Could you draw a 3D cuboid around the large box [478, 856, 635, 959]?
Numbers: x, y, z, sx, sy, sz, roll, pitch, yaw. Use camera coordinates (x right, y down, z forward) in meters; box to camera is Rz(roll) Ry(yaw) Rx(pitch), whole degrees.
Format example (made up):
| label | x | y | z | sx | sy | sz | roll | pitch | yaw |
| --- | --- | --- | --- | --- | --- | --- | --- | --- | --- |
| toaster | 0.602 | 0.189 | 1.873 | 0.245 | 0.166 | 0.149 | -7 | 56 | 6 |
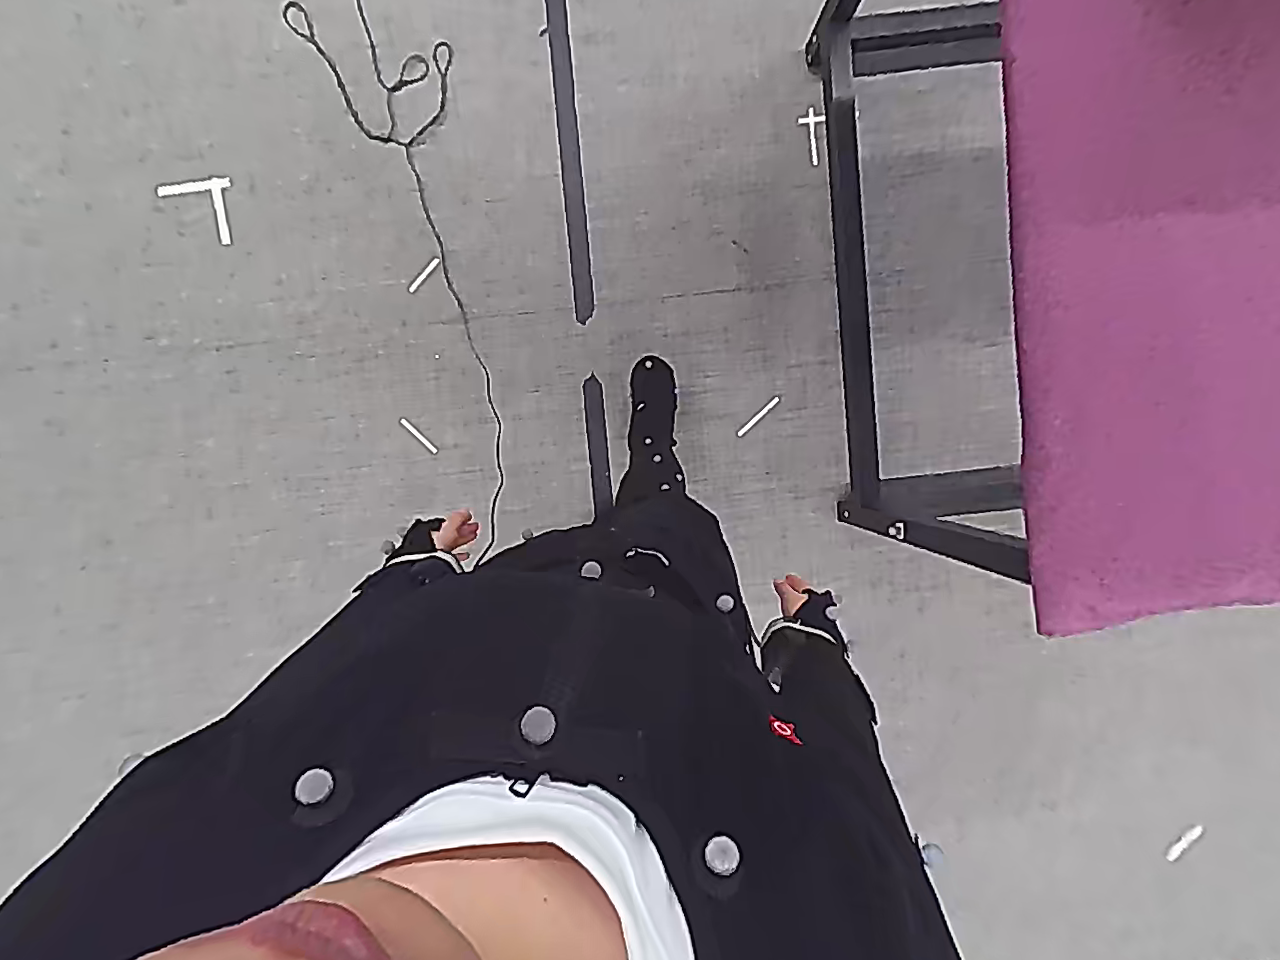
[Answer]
| label | x | y | z | sx | sy | sz | roll | pitch | yaw |
| --- | --- | --- | --- | --- | --- | --- | --- | --- | --- |
| large box | -0.177 | 1.213 | 1.292 | 0.320 | 0.320 | 0.408 | -7 | 93 | -1 |
